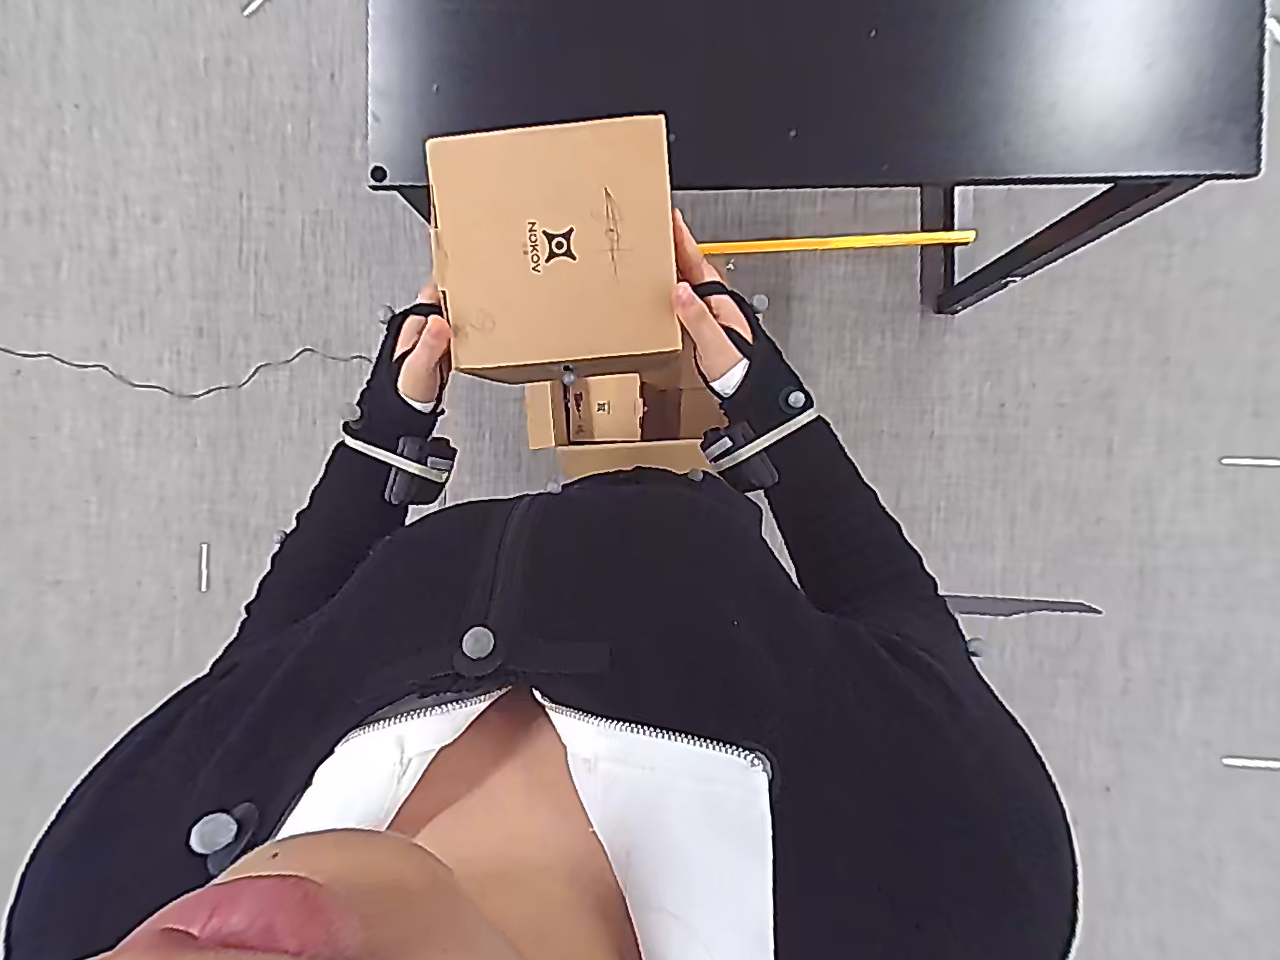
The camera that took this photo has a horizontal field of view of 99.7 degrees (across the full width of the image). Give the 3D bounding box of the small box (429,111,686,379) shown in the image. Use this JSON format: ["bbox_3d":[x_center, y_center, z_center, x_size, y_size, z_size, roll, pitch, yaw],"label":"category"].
[{"bbox_3d":[-0.056,-0.180,0.467,0.179,0.176,0.168,-5,97,1],"label":"small box"}]
